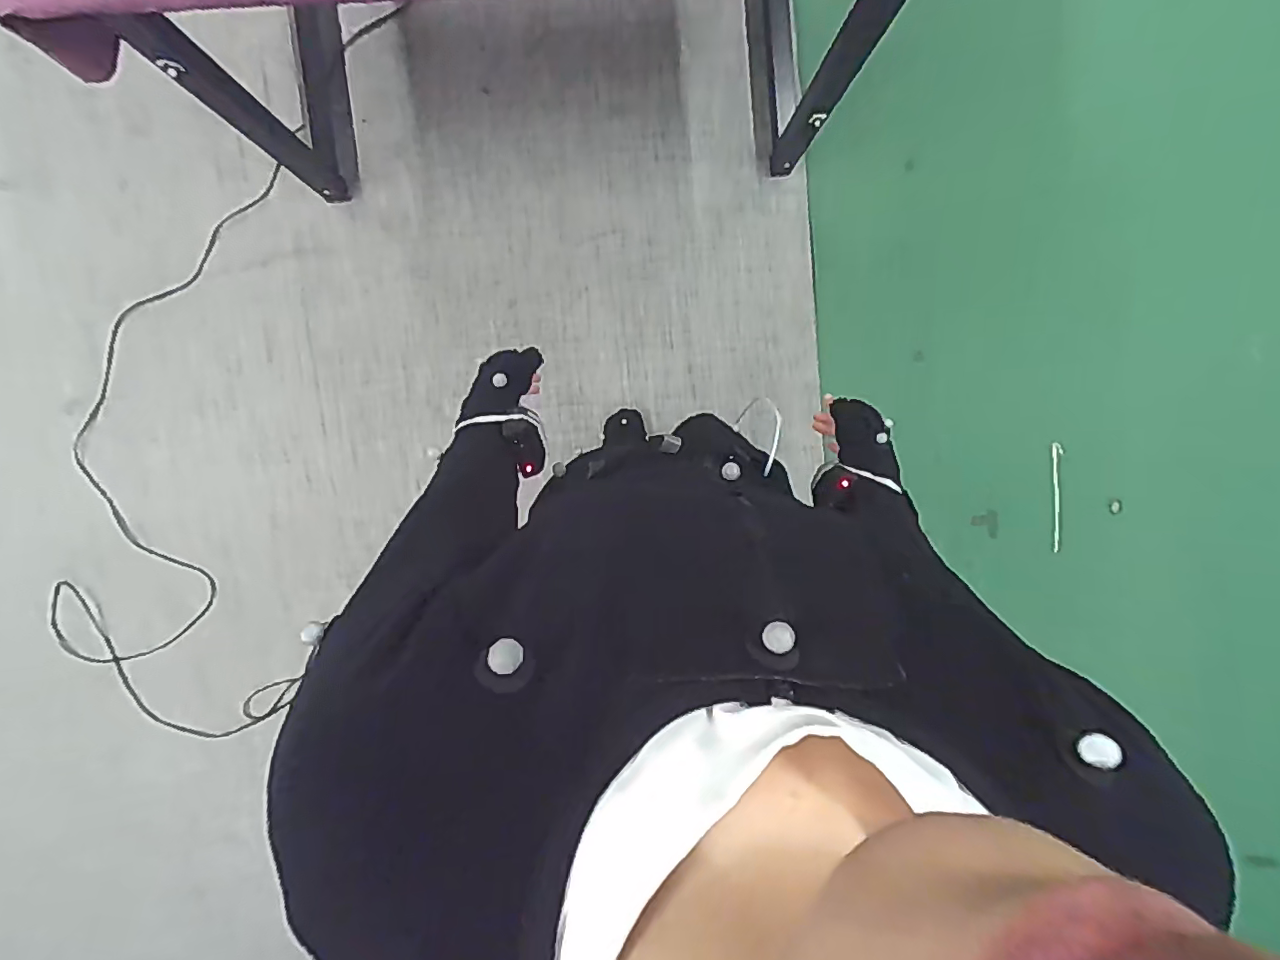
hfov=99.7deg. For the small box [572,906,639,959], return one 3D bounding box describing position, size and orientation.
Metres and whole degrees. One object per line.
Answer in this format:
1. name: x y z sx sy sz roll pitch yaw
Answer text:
1. small box: -0.087 1.294 1.443 0.168 0.176 0.179 -6 96 -2
